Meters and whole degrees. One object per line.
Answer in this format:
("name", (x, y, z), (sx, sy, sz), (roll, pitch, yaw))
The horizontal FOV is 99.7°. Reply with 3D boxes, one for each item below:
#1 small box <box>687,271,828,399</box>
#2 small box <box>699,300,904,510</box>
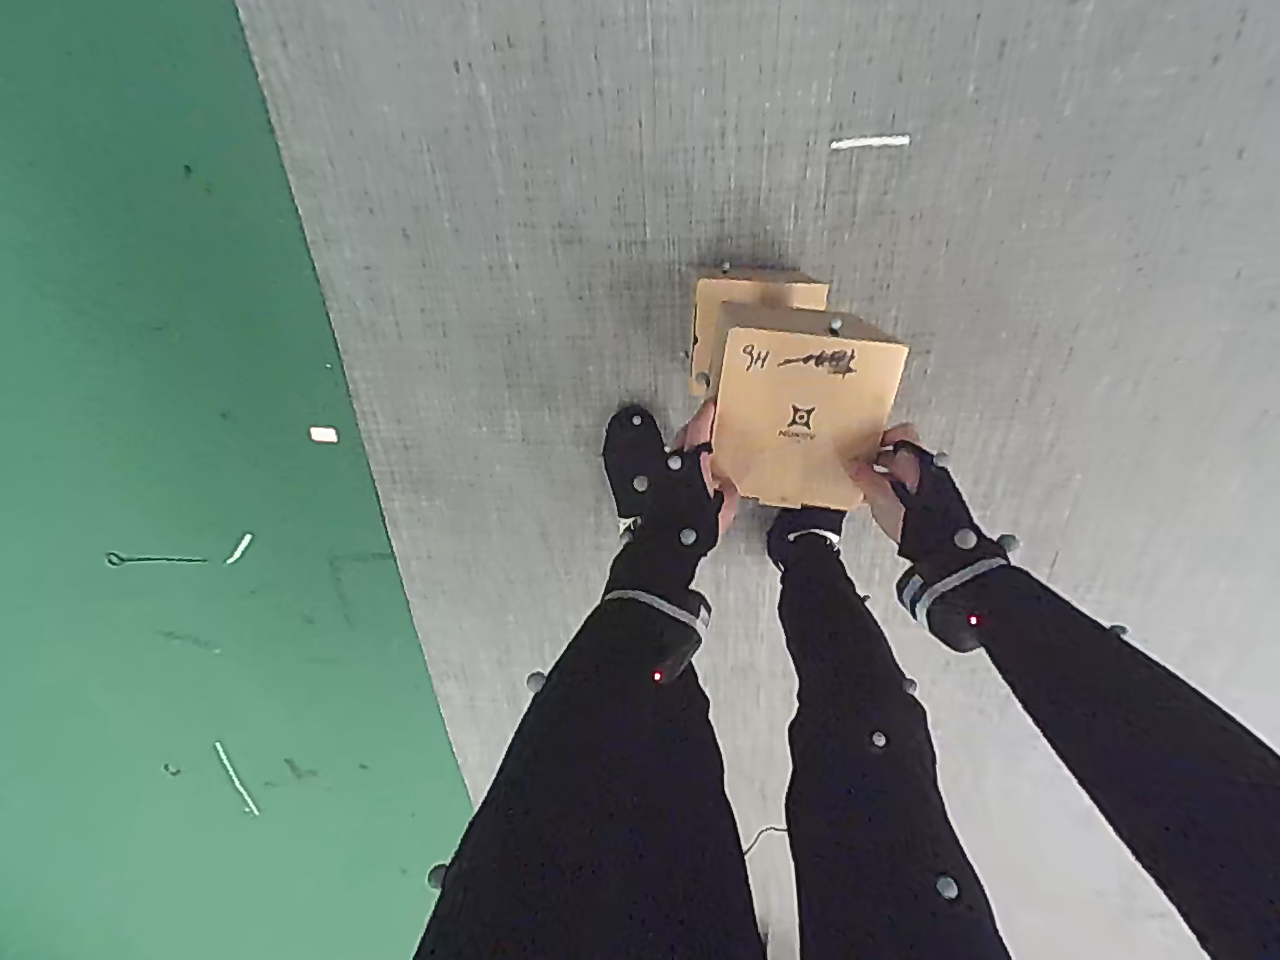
("small box", (0.164, -0.221, 0.823), (0.179, 0.176, 0.168), (4, 117, 1))
("small box", (0.160, -0.090, 0.605), (0.168, 0.176, 0.179), (7, 117, 1))
